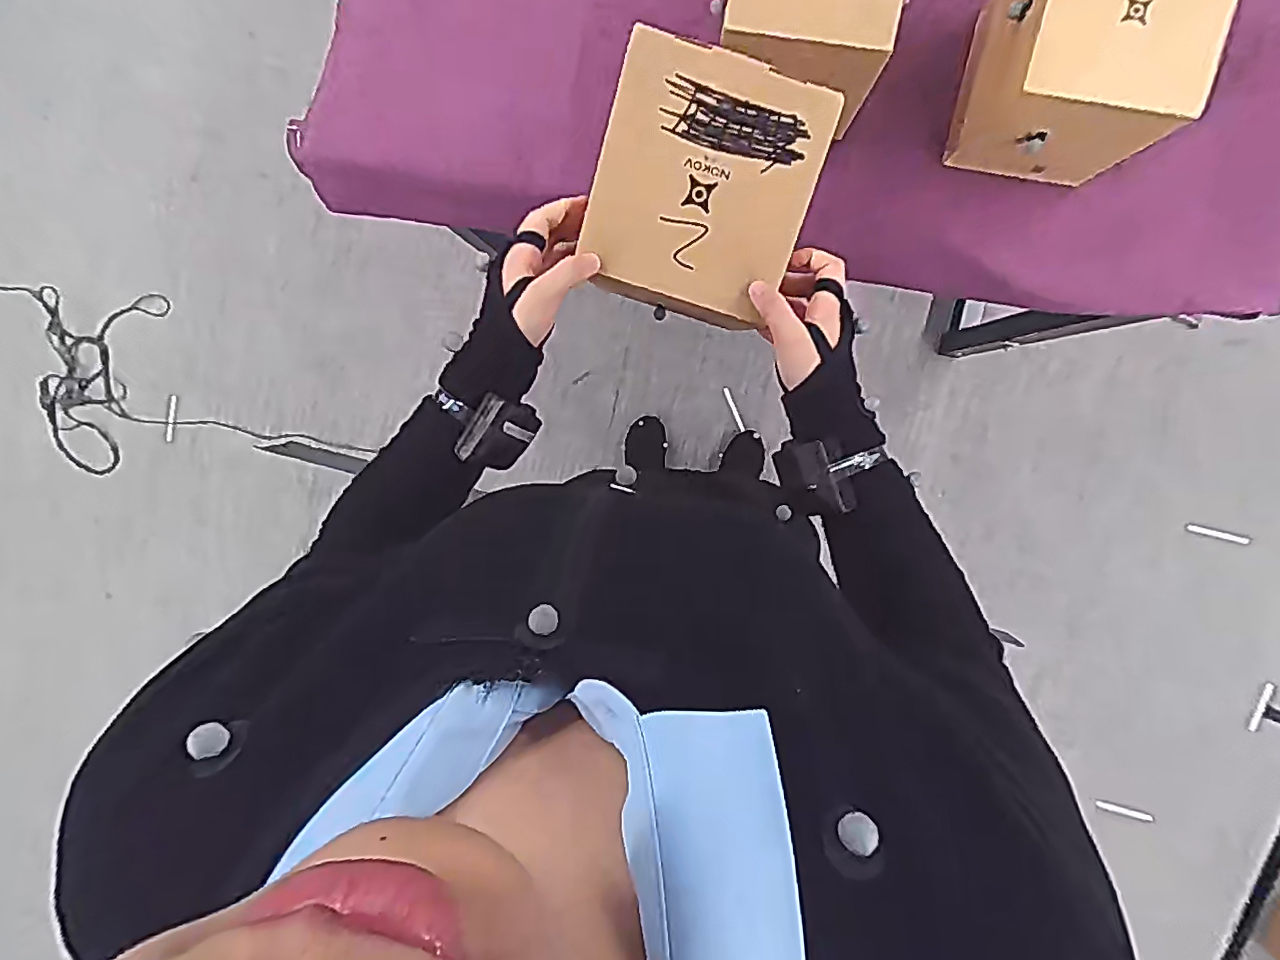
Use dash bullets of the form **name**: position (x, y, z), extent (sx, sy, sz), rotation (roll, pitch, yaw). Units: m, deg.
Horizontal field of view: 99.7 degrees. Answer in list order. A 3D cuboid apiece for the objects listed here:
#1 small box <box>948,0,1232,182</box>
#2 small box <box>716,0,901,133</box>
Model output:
- **small box**: position (0.465, -0.450, 0.581), extent (0.168, 0.176, 0.179), rotation (11, 98, 3)
- **small box**: position (0.181, -0.518, 0.592), extent (0.168, 0.176, 0.179), rotation (10, 97, 2)
